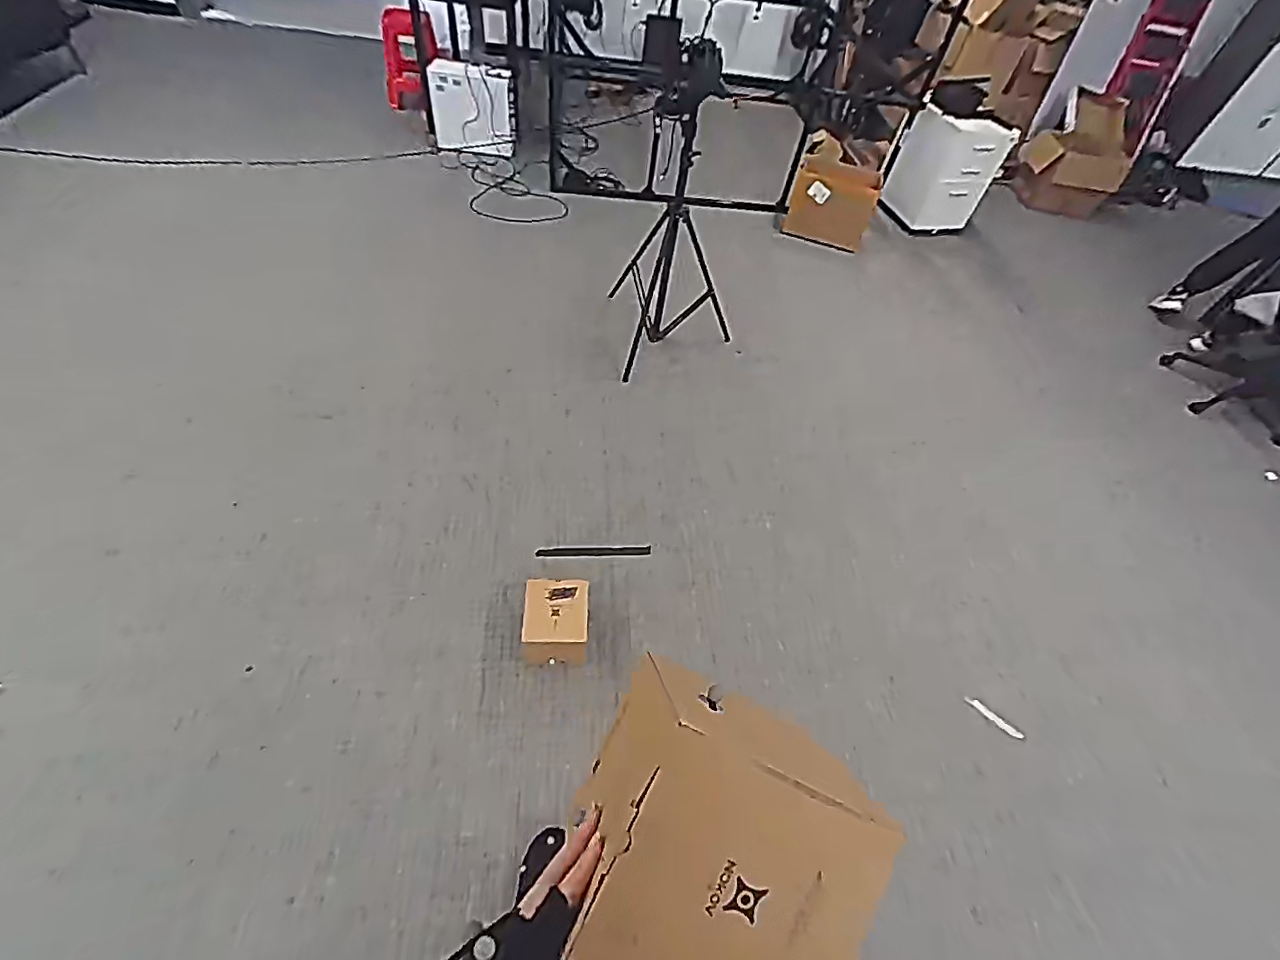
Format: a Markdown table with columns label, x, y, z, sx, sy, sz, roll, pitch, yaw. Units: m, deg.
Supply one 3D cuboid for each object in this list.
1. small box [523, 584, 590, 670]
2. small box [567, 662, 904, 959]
| label | x | y | z | sx | sy | sz | roll | pitch | yaw |
| --- | --- | --- | --- | --- | --- | --- | --- | --- | --- |
| small box | -0.225 | 0.401 | 1.474 | 0.168 | 0.176 | 0.179 | 2 | 52 | -6 |
| small box | 0.057 | 0.266 | 0.428 | 0.179 | 0.176 | 0.168 | 27 | 86 | -5 |
